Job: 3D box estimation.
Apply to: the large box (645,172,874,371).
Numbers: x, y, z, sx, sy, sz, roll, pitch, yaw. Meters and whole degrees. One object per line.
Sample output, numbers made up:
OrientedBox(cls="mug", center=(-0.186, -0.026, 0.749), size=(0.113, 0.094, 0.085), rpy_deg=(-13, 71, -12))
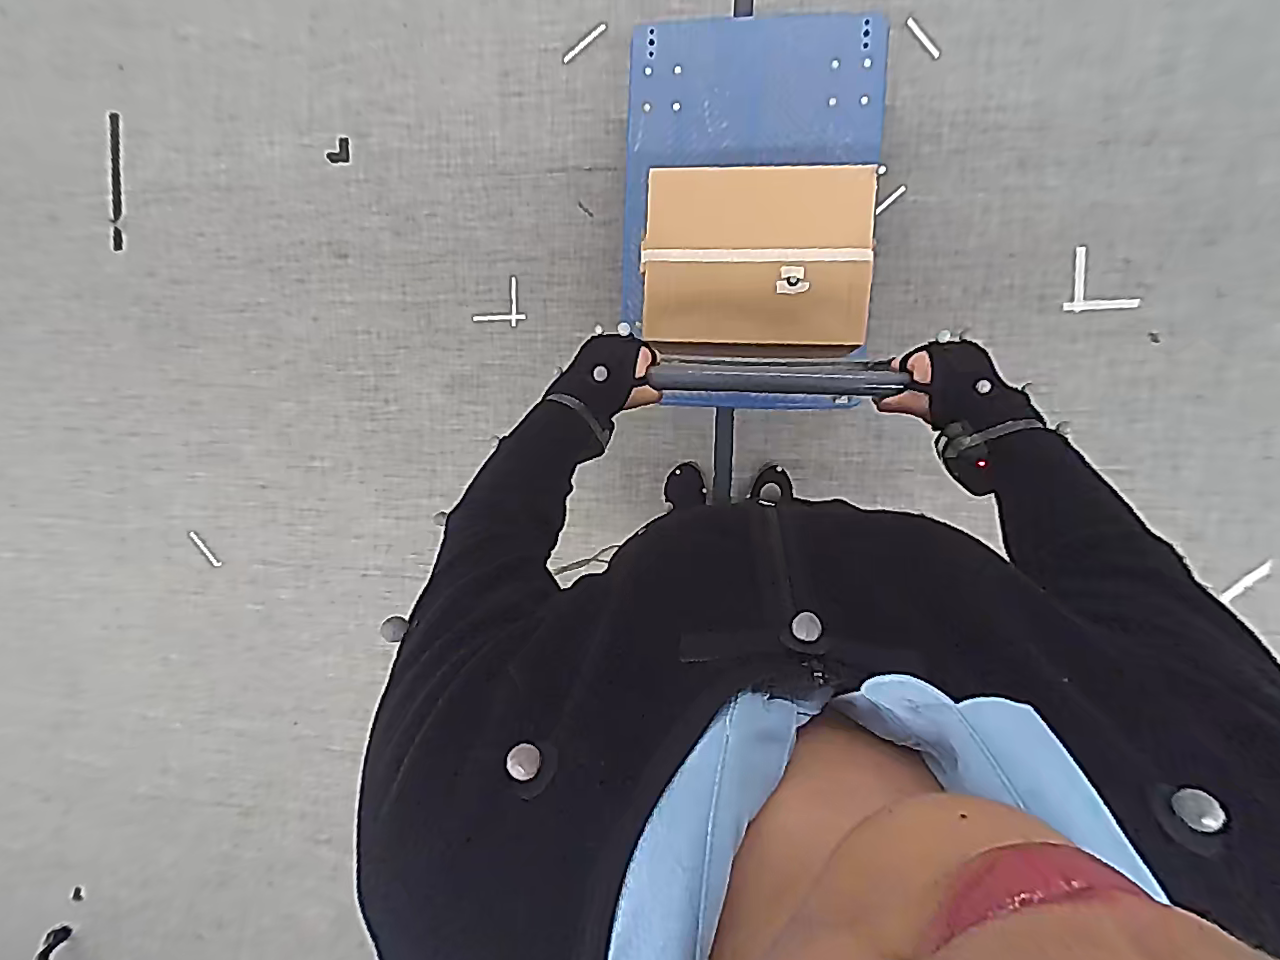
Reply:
OrientedBox(cls="large box", center=(0.224, -0.402, 1.123), size=(0.408, 0.320, 0.320), rpy_deg=(3, 95, 6))
